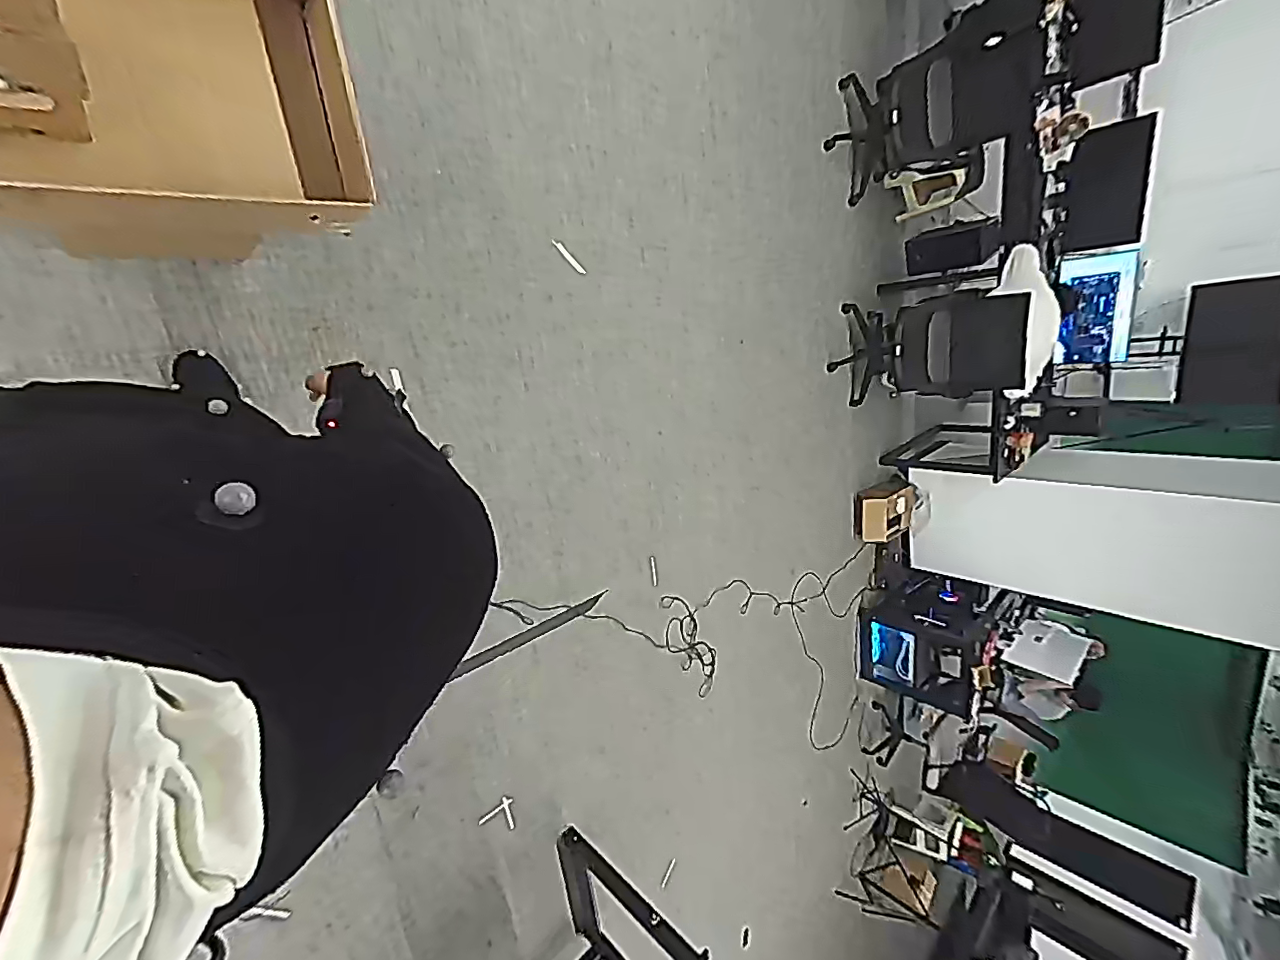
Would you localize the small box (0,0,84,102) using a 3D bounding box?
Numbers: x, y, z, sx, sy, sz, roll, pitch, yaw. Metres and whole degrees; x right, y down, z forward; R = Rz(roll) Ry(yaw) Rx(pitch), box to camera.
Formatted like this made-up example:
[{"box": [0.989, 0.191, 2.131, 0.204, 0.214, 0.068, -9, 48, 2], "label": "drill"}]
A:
[{"box": [-0.761, -0.557, 0.593, 0.168, 0.176, 0.179, -22, 111, -37], "label": "small box"}]

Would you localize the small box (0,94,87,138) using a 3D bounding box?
[{"box": [-0.875, -0.578, 0.710, 0.168, 0.176, 0.179, -21, 109, -38], "label": "small box"}]
